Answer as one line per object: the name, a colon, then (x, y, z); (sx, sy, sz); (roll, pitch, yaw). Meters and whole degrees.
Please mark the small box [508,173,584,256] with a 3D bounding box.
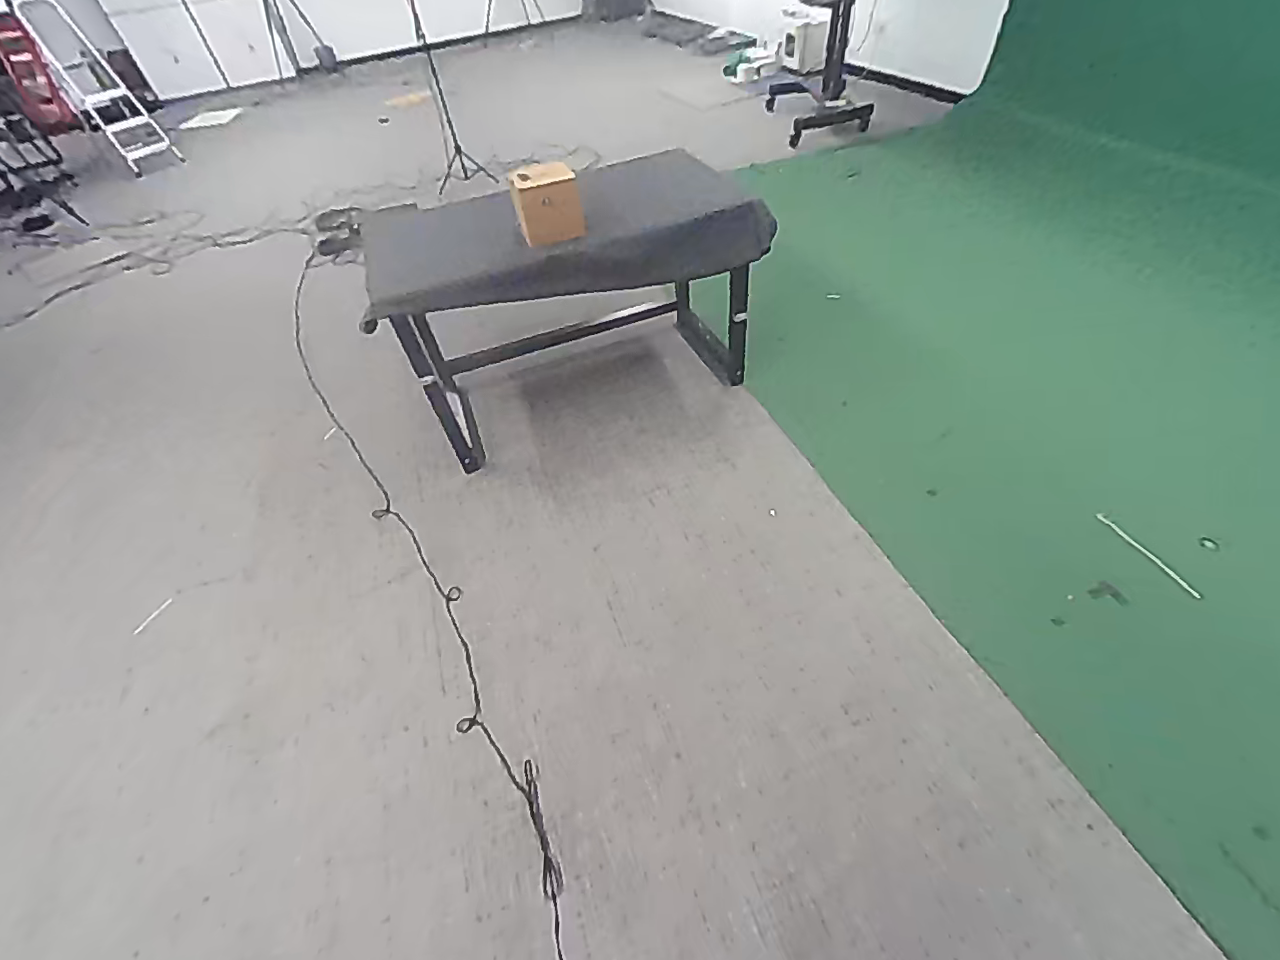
small box: (-0.282, -0.805, 1.647); (0.179, 0.176, 0.168); (-19, 48, -10)
